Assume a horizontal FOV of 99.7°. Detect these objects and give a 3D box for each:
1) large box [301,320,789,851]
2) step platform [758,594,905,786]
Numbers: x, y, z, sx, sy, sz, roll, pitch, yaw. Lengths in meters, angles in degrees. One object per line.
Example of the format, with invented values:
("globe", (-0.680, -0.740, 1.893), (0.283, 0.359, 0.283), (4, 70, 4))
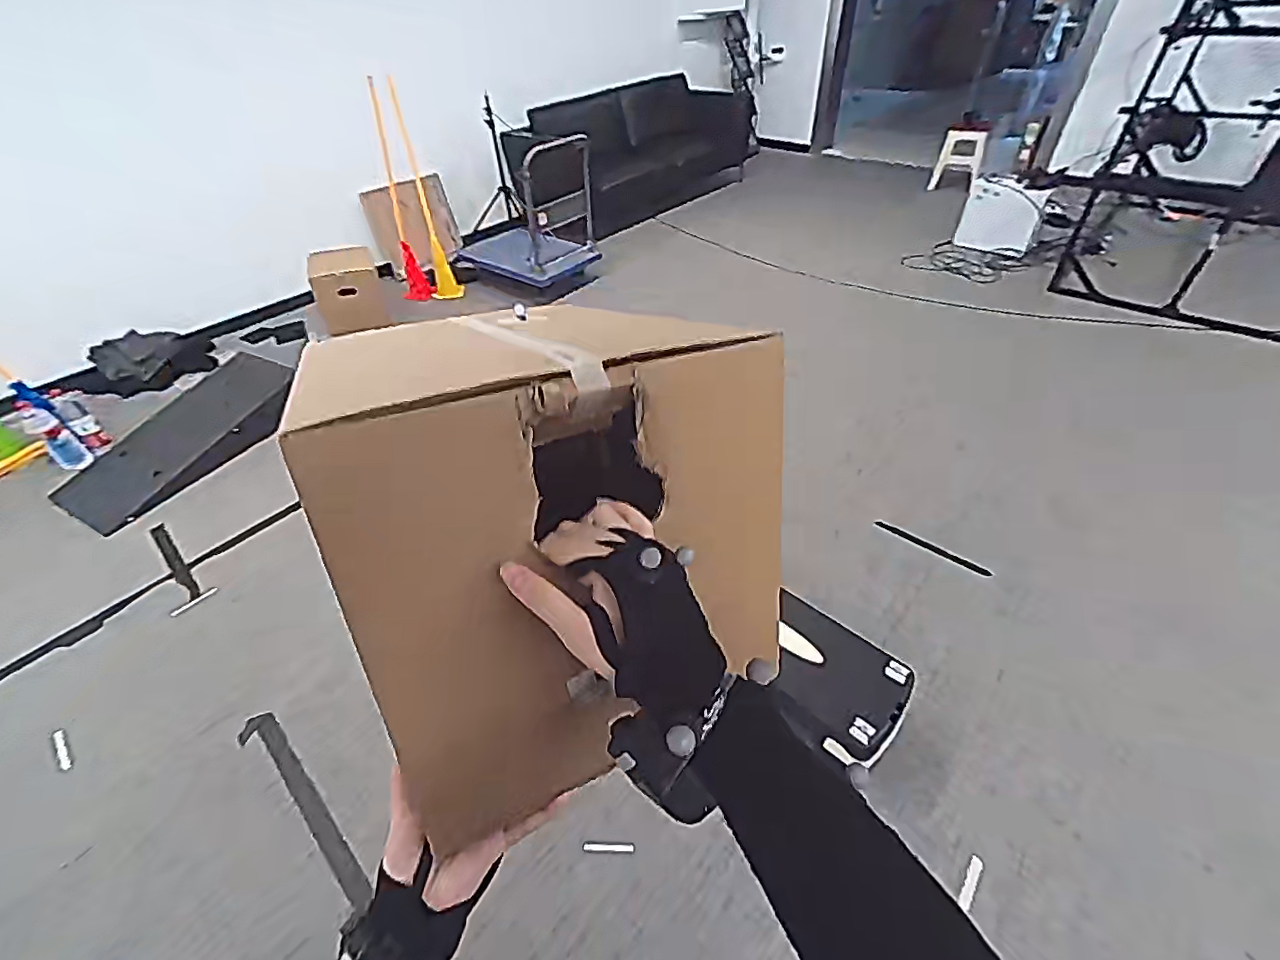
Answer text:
("large box", (-0.105, 0.027, 0.534), (0.320, 0.320, 0.408), (-16, 24, -25))
("step platform", (0.366, 0.482, 1.525), (0.286, 0.204, 0.684), (-33, 49, -28))
